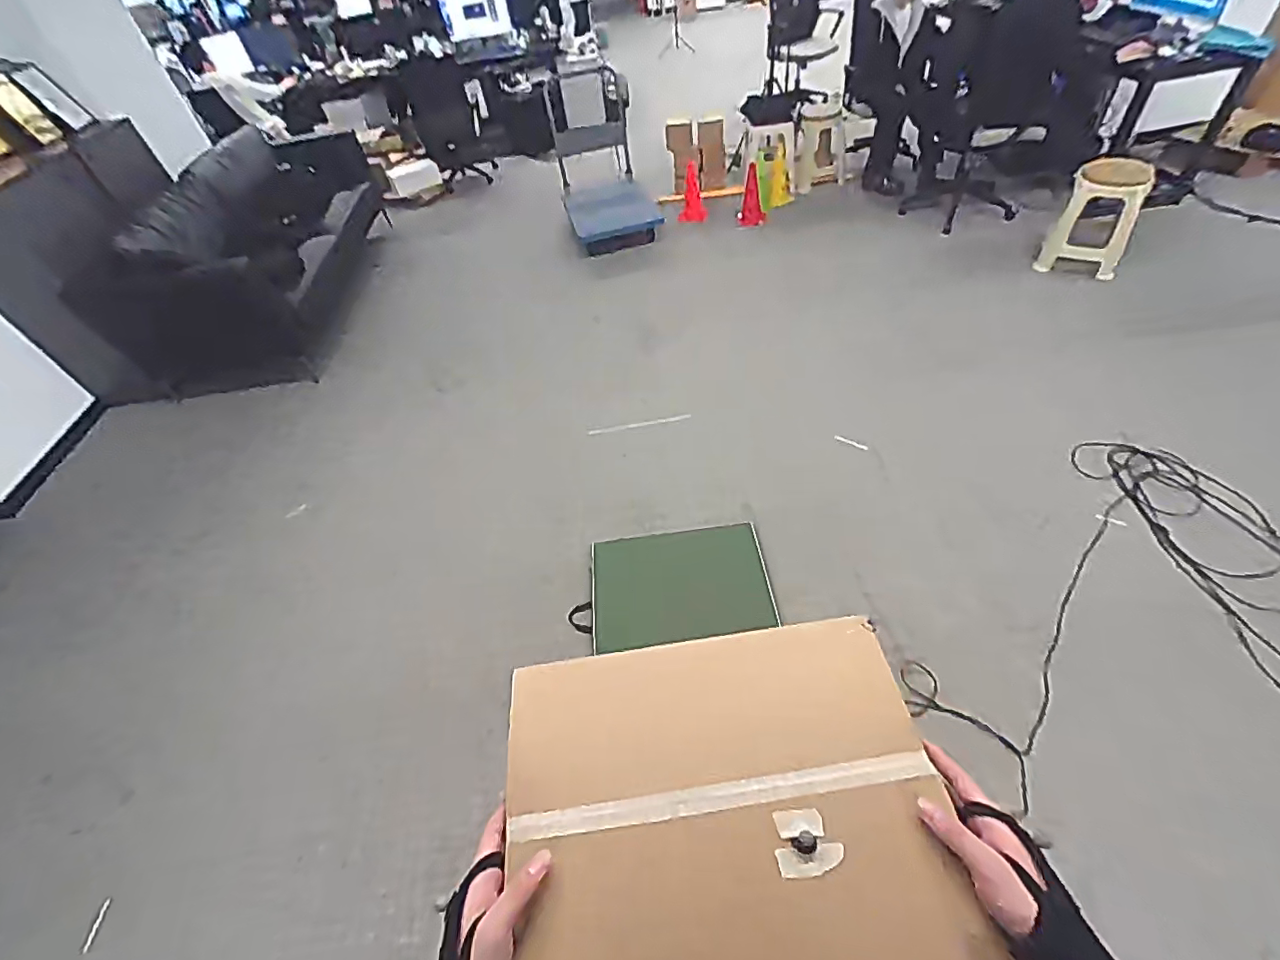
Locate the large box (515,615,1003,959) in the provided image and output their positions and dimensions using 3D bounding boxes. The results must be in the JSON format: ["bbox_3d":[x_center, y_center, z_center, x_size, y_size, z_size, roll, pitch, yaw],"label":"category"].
[{"bbox_3d":[0.089,0.398,0.632,0.408,0.320,0.320,-9,49,-1],"label":"large box"}]
